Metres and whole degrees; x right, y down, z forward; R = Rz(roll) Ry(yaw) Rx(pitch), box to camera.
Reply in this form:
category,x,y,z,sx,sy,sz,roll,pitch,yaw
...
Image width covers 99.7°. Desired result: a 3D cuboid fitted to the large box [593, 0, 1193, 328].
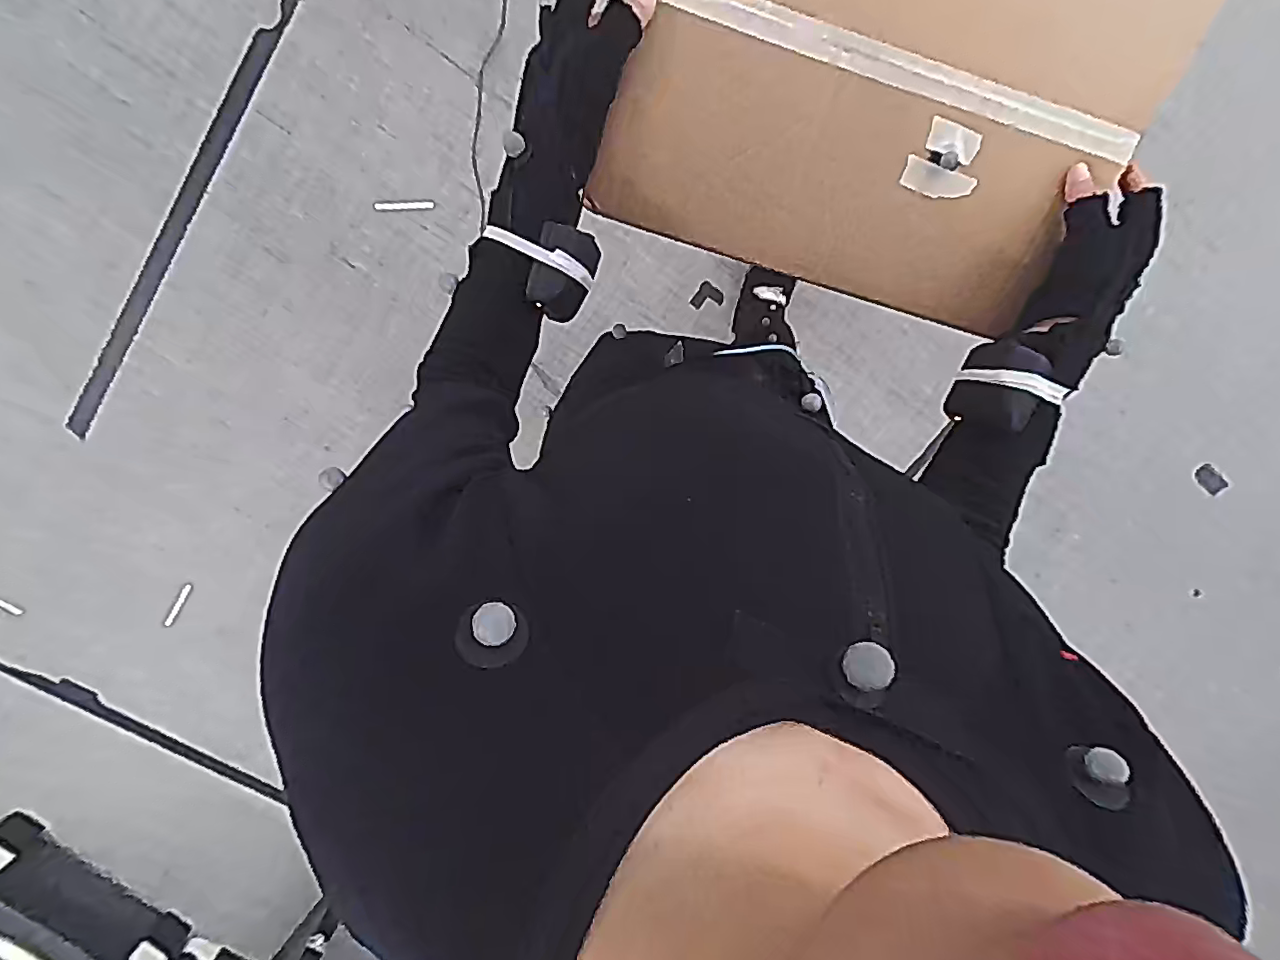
category,x,y,z,sx,sy,sz,roll,pitch,yaw
large box,0.189,-0.388,0.551,0.408,0.320,0.320,15,118,-6
